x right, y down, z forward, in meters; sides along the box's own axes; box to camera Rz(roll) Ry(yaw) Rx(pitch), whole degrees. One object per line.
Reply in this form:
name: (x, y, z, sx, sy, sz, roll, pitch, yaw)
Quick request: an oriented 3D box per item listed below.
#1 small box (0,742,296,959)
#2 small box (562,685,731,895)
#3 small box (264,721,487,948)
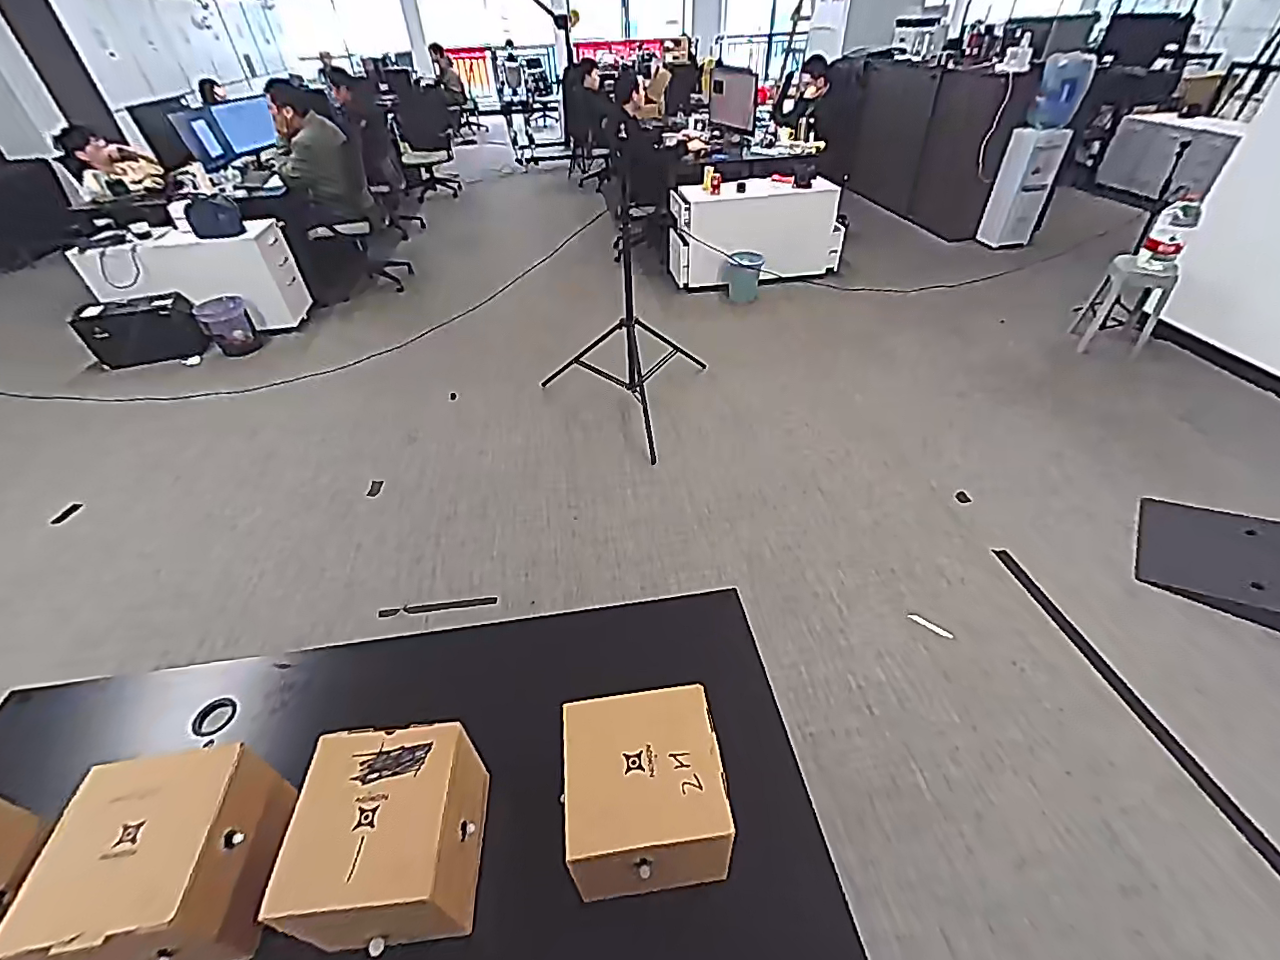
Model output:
small box: (-0.532, 0.435, 0.619, 0.168, 0.176, 0.179, -7, 40, -7)
small box: (0.005, 0.377, 0.658, 0.179, 0.176, 0.168, -6, 41, -4)
small box: (-0.283, 0.411, 0.632, 0.168, 0.176, 0.179, -5, 41, -3)
